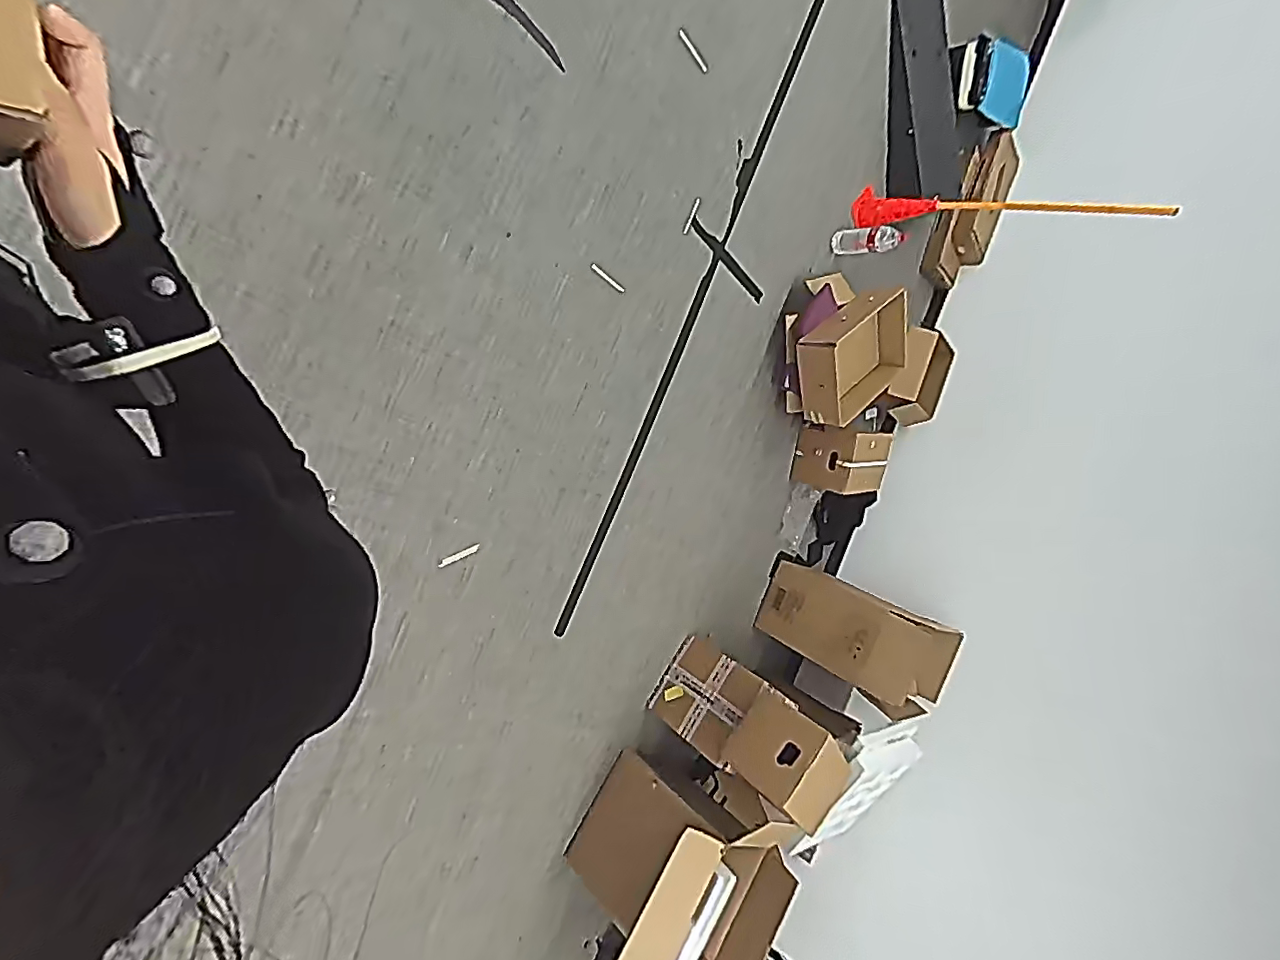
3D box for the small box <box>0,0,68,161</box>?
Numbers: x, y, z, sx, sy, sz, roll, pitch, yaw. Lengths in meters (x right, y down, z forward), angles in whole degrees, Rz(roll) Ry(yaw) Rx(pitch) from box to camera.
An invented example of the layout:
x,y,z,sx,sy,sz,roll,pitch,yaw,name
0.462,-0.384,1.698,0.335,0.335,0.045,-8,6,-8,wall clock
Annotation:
x,y,z,sx,sy,sz,roll,pitch,yaw,name
-0.354,-0.243,0.202,0.168,0.176,0.179,-13,113,-52,small box
